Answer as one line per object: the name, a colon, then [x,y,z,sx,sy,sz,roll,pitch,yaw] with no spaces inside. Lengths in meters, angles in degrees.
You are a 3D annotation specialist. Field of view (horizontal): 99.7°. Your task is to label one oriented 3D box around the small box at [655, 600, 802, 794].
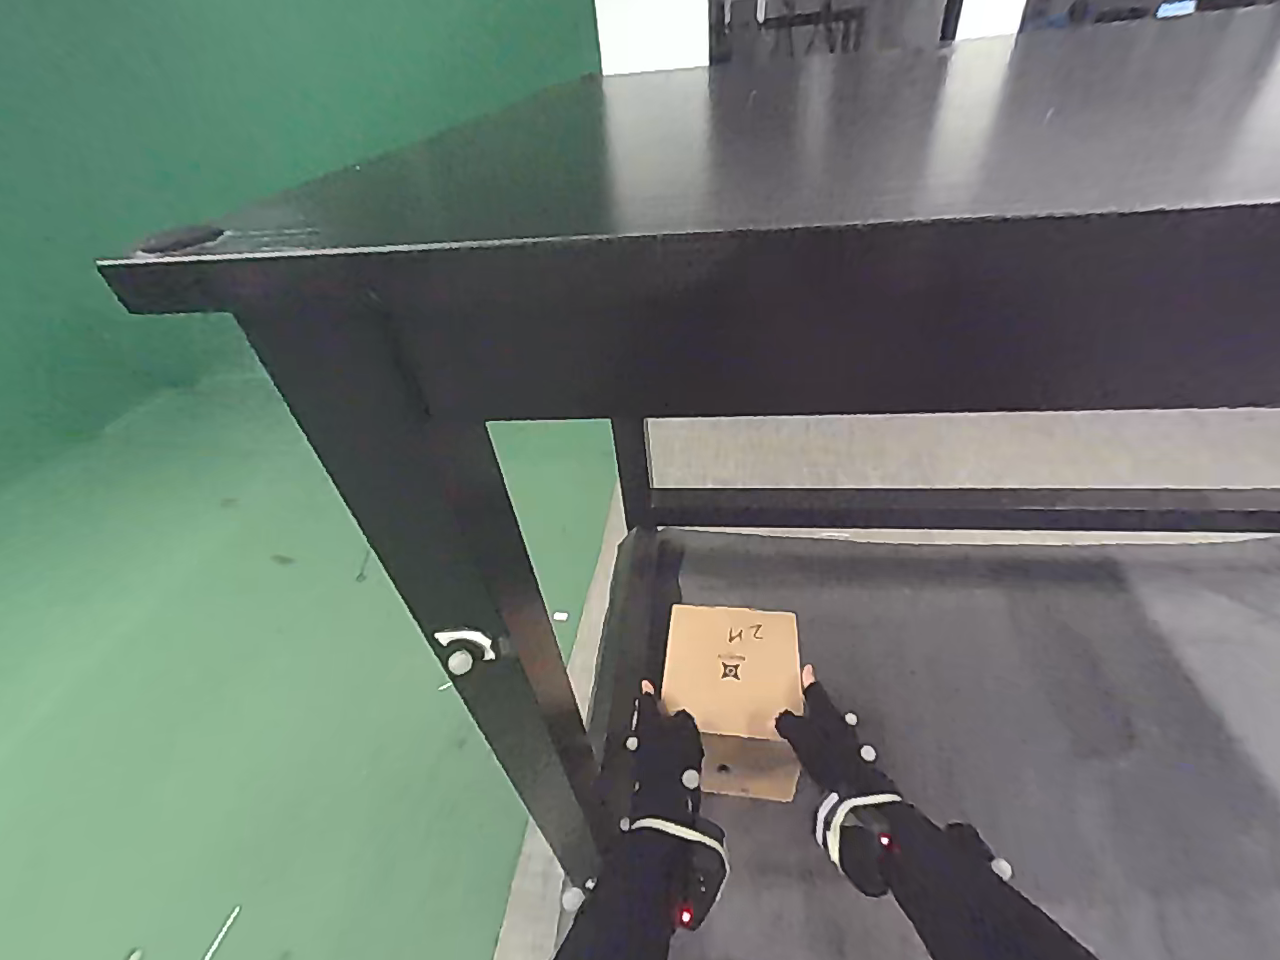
small box: [0.118,0.283,0.708,0.168,0.176,0.179,2,40,10]
